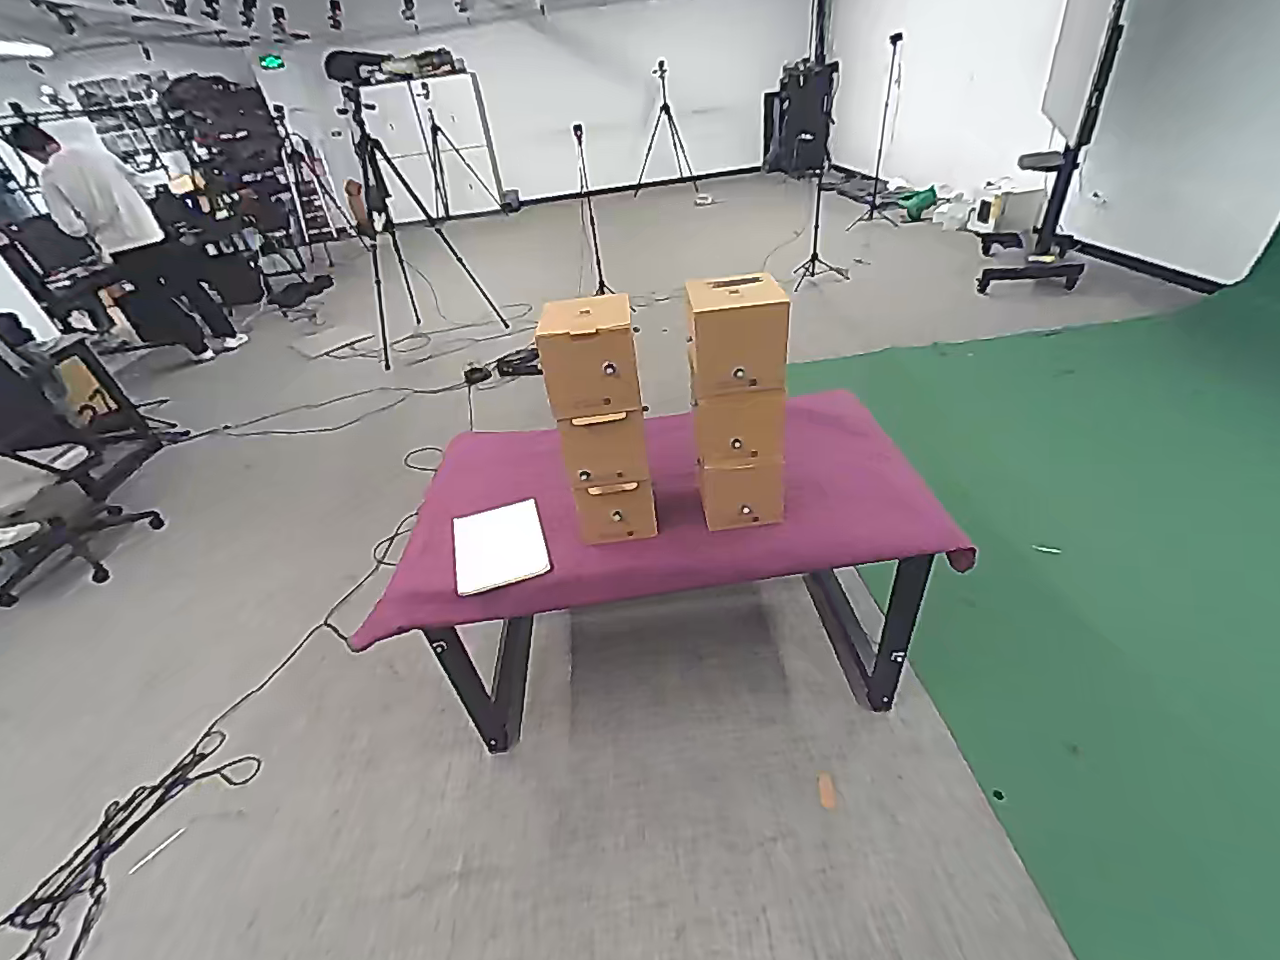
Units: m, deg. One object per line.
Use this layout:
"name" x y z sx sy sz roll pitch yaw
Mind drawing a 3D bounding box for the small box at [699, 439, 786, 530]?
"small box" 0.225 -0.011 1.220 0.168 0.176 0.179 -8 35 3

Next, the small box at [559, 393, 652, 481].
"small box" -0.066 -0.109 1.130 0.168 0.176 0.179 -7 35 2

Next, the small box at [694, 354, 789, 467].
"small box" 0.205 -0.146 1.130 0.168 0.176 0.179 -6 36 2

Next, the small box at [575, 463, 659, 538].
"small box" -0.048 0.019 1.233 0.168 0.176 0.179 -6 37 1

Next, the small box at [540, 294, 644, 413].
"small box" -0.083 -0.236 1.030 0.168 0.176 0.179 -6 36 2
